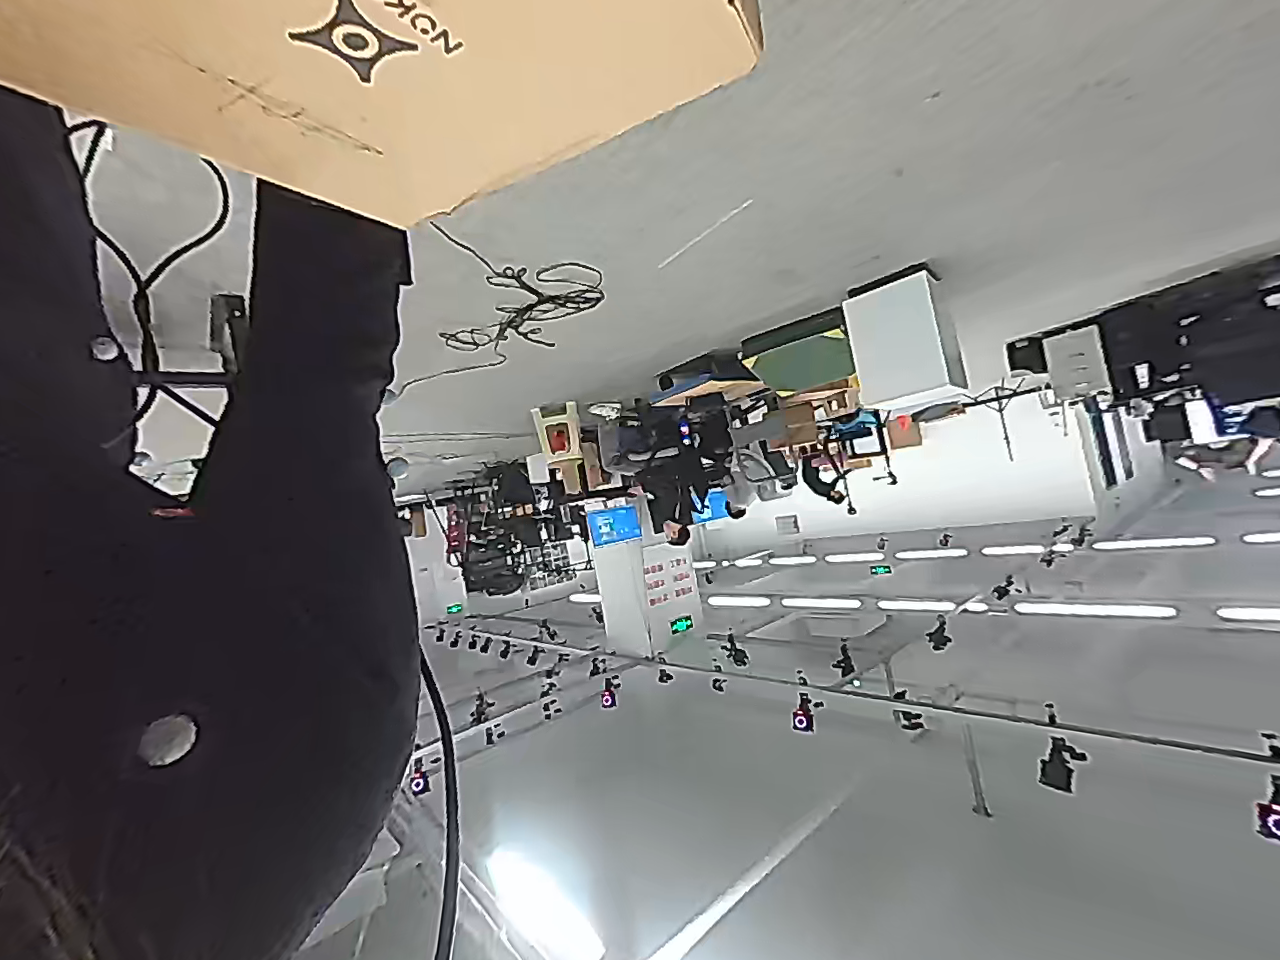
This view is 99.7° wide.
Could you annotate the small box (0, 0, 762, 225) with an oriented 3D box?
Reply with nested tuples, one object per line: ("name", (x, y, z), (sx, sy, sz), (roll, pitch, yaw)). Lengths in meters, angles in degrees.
("small box", (-0.082, -0.199, 0.139), (0.179, 0.176, 0.168), (-5, -176, 28))
